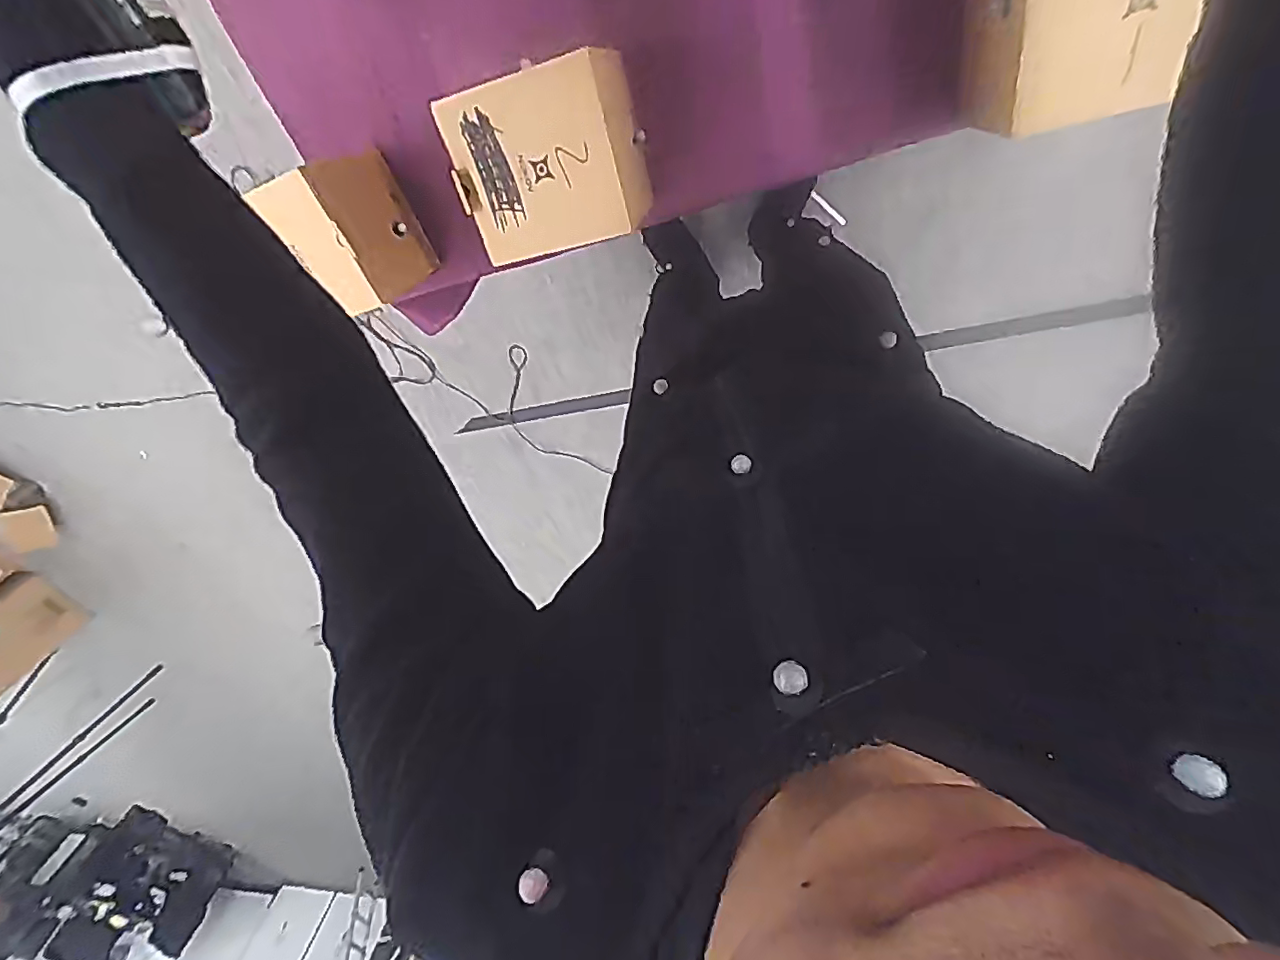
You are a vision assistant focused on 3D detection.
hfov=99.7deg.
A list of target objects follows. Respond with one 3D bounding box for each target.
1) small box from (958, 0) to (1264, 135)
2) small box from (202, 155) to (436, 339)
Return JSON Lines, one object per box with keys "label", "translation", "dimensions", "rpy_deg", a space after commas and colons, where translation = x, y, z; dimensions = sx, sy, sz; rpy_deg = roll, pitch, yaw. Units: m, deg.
{"label": "small box", "translation": [0.396, -0.429, 0.473], "dimensions": [0.168, 0.176, 0.179], "rpy_deg": [-6, 126, 17]}
{"label": "small box", "translation": [-0.419, -0.319, 0.739], "dimensions": [0.179, 0.176, 0.168], "rpy_deg": [-12, 123, 19]}
